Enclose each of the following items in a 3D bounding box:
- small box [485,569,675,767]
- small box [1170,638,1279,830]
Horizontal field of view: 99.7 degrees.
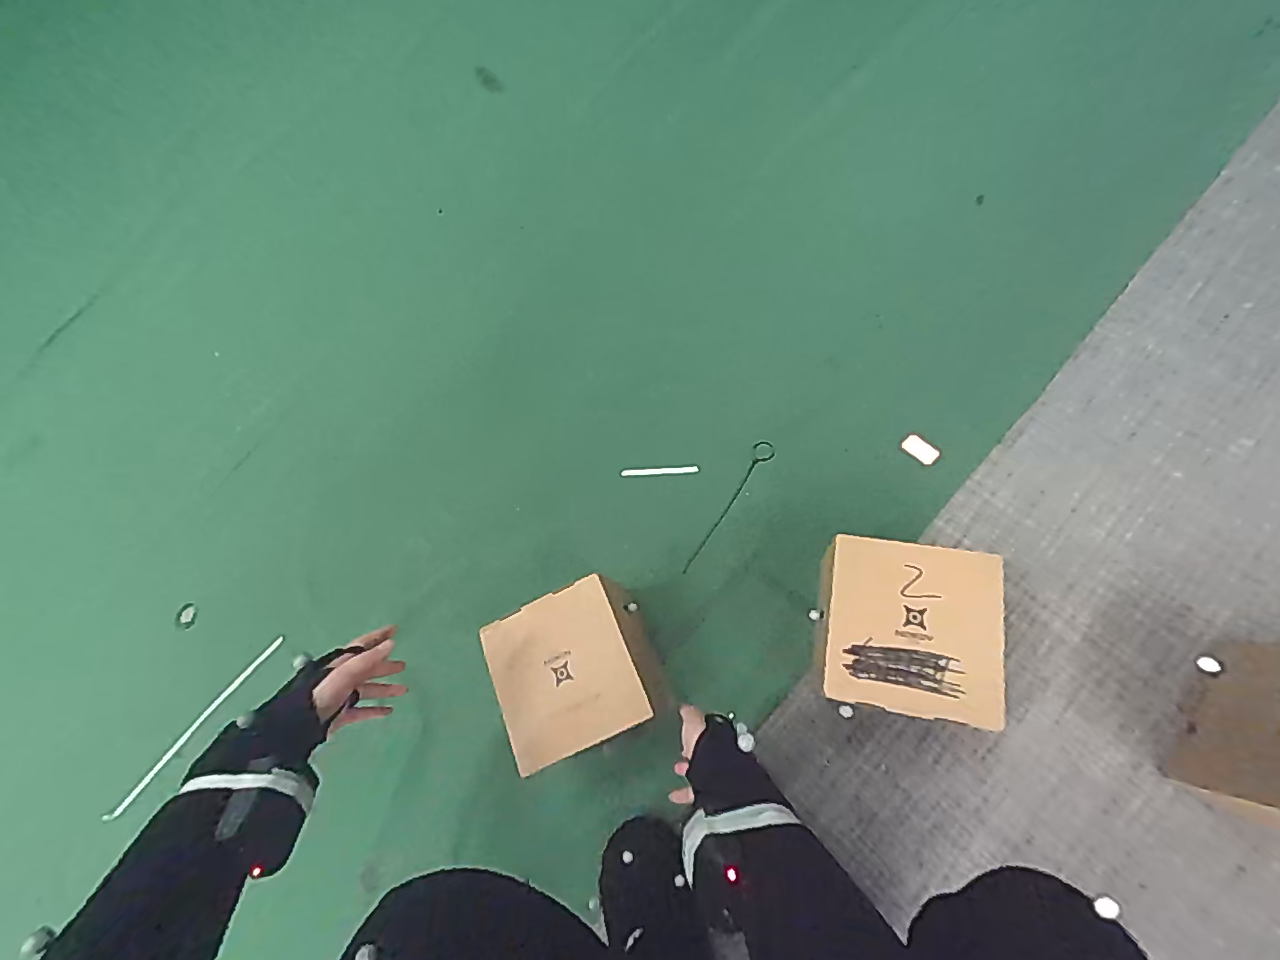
[{"bbox_3d":[-0.070,0.239,0.698,0.168,0.176,0.179,-26,68,3],"label":"small box"},{"bbox_3d":[0.674,0.264,0.512,0.179,0.176,0.168,27,79,19],"label":"small box"}]
